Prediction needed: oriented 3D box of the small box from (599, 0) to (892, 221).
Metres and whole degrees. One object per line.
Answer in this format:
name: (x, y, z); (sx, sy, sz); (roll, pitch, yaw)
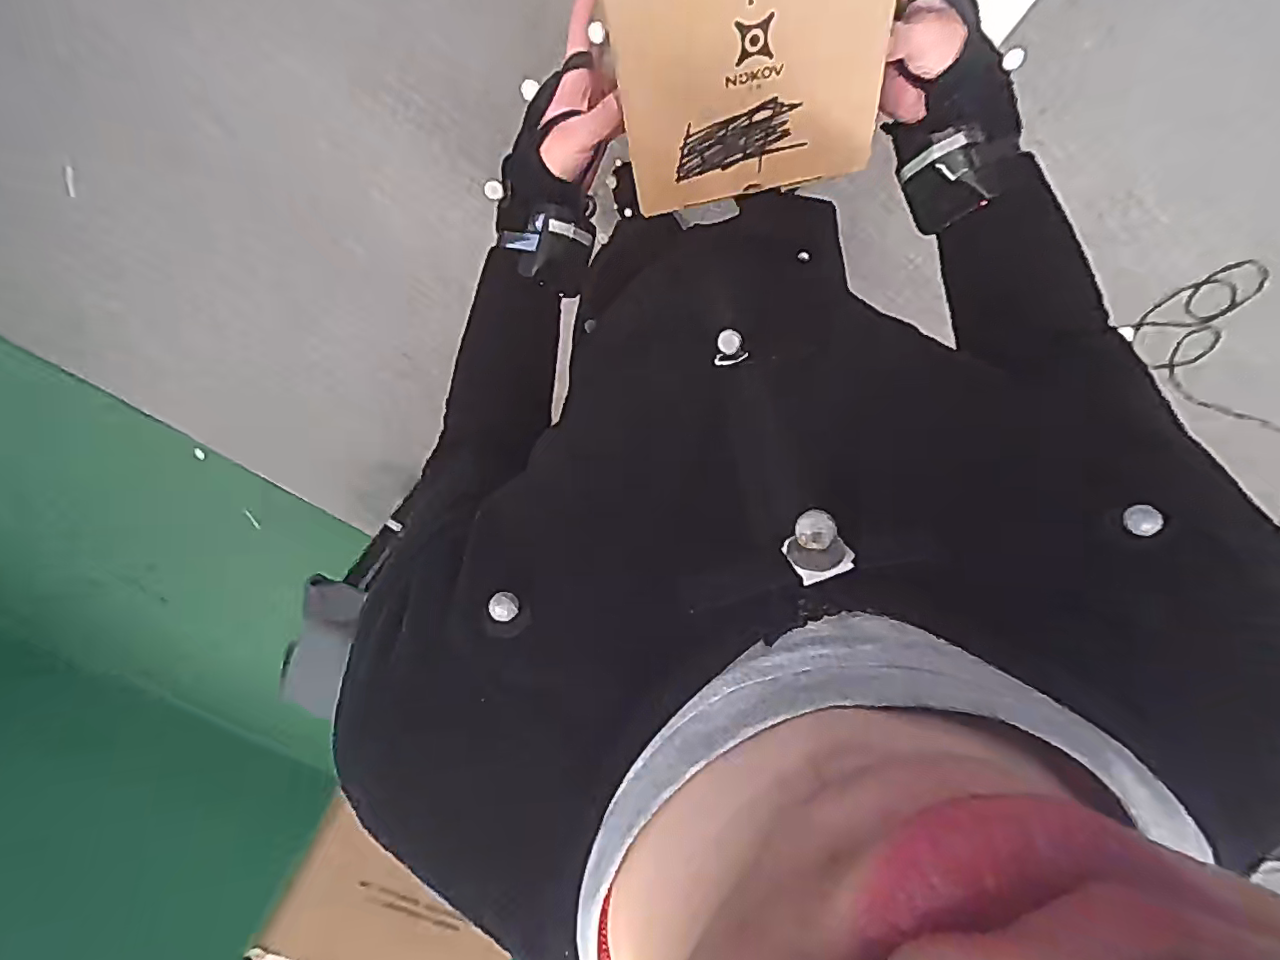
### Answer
small box: (0.059, -0.320, 0.370); (0.168, 0.176, 0.179); (-11, 146, 6)
